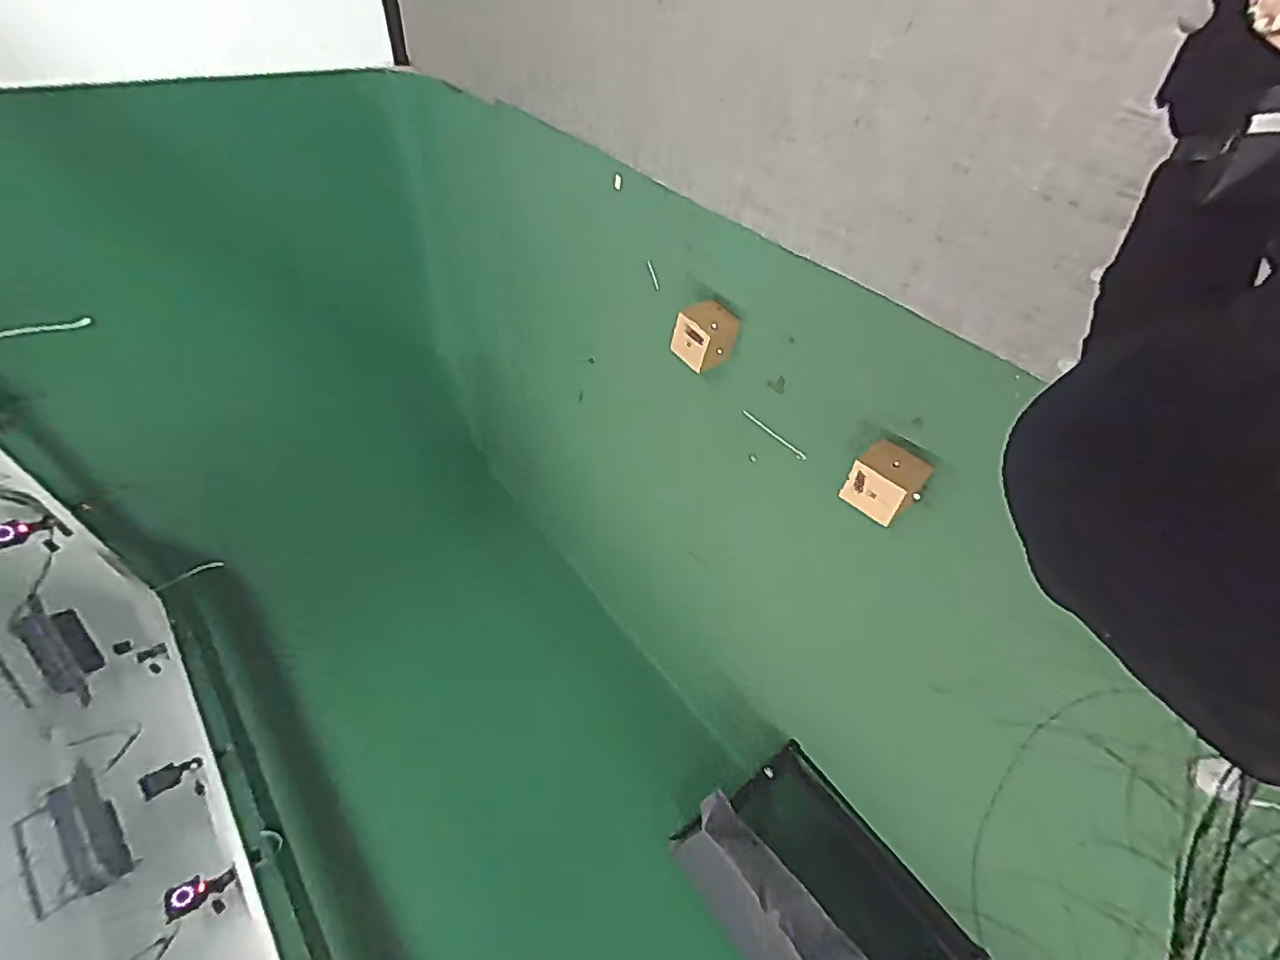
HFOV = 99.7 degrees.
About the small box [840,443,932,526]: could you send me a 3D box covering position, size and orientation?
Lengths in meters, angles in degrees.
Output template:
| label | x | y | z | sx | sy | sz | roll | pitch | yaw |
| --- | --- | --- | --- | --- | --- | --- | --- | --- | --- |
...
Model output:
| label | x | y | z | sx | sy | sz | roll | pitch | yaw |
| --- | --- | --- | --- | --- | --- | --- | --- | --- | --- |
| small box | 0.769 | 0.006 | 1.694 | 0.179 | 0.176 | 0.168 | 40 | 144 | 29 |
